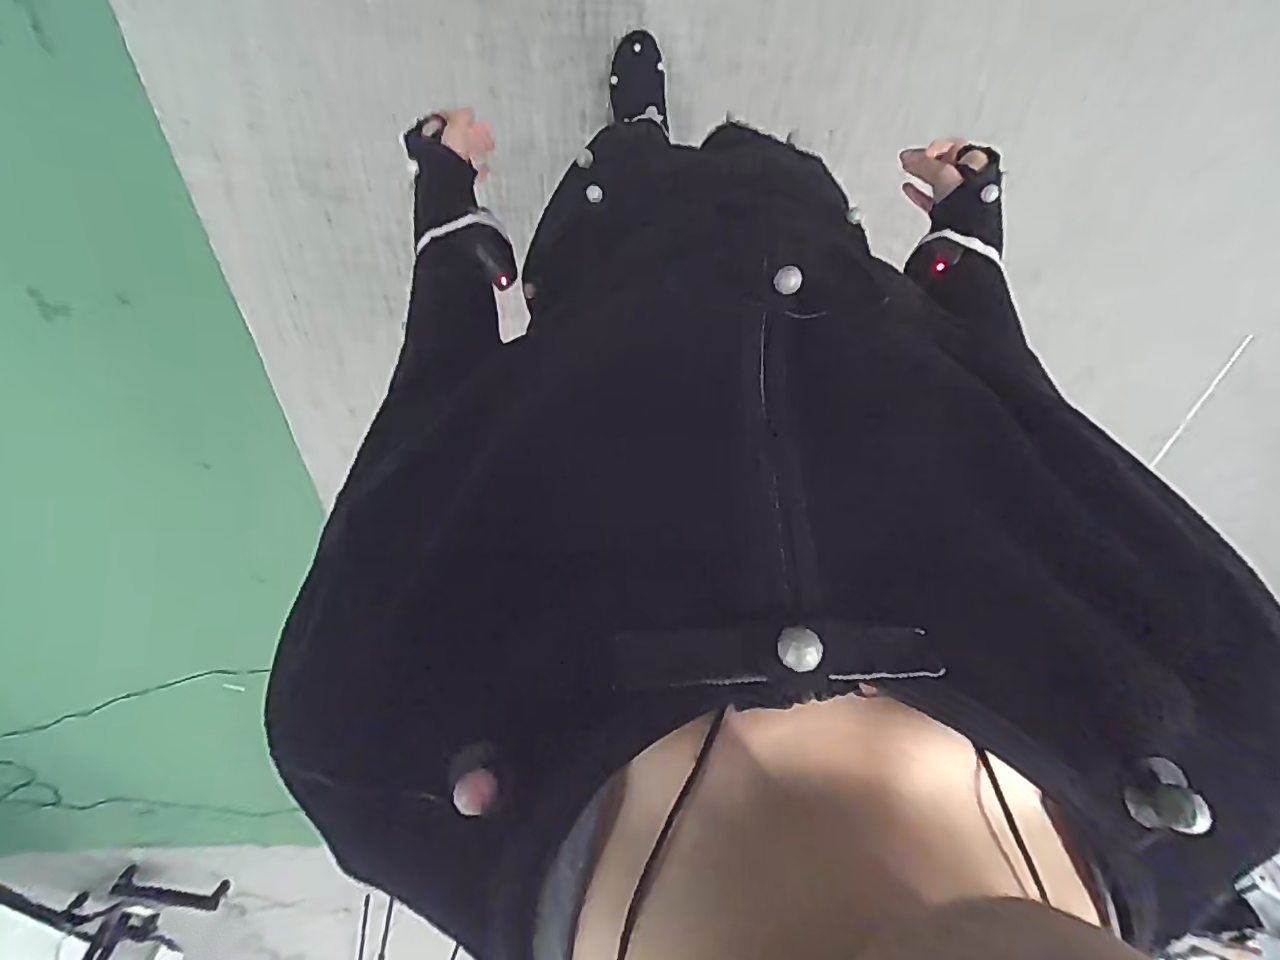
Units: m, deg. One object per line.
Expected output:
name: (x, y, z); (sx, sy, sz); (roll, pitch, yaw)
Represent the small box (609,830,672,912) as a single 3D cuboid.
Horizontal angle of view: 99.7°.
small box: (-0.002, 1.187, 1.645); (0.179, 0.176, 0.168); (2, 128, -4)
